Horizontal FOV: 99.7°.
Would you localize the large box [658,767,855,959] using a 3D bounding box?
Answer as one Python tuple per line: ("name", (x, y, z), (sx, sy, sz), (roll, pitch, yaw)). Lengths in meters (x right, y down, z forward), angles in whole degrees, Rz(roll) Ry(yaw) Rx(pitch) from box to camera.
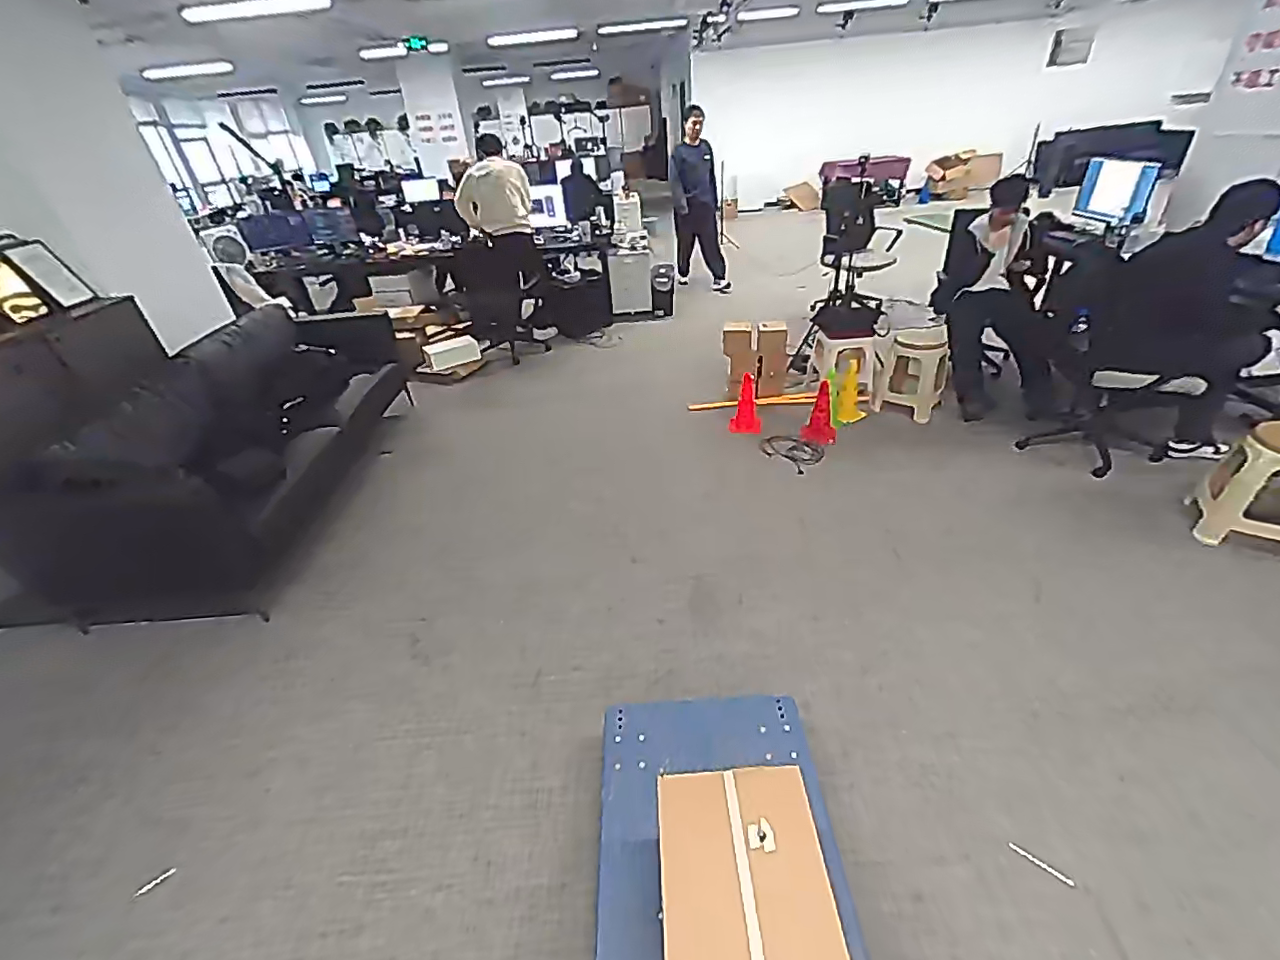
("large box", (0.213, 0.866, 1.083), (0.320, 0.320, 0.408), (-5, 33, 1))
